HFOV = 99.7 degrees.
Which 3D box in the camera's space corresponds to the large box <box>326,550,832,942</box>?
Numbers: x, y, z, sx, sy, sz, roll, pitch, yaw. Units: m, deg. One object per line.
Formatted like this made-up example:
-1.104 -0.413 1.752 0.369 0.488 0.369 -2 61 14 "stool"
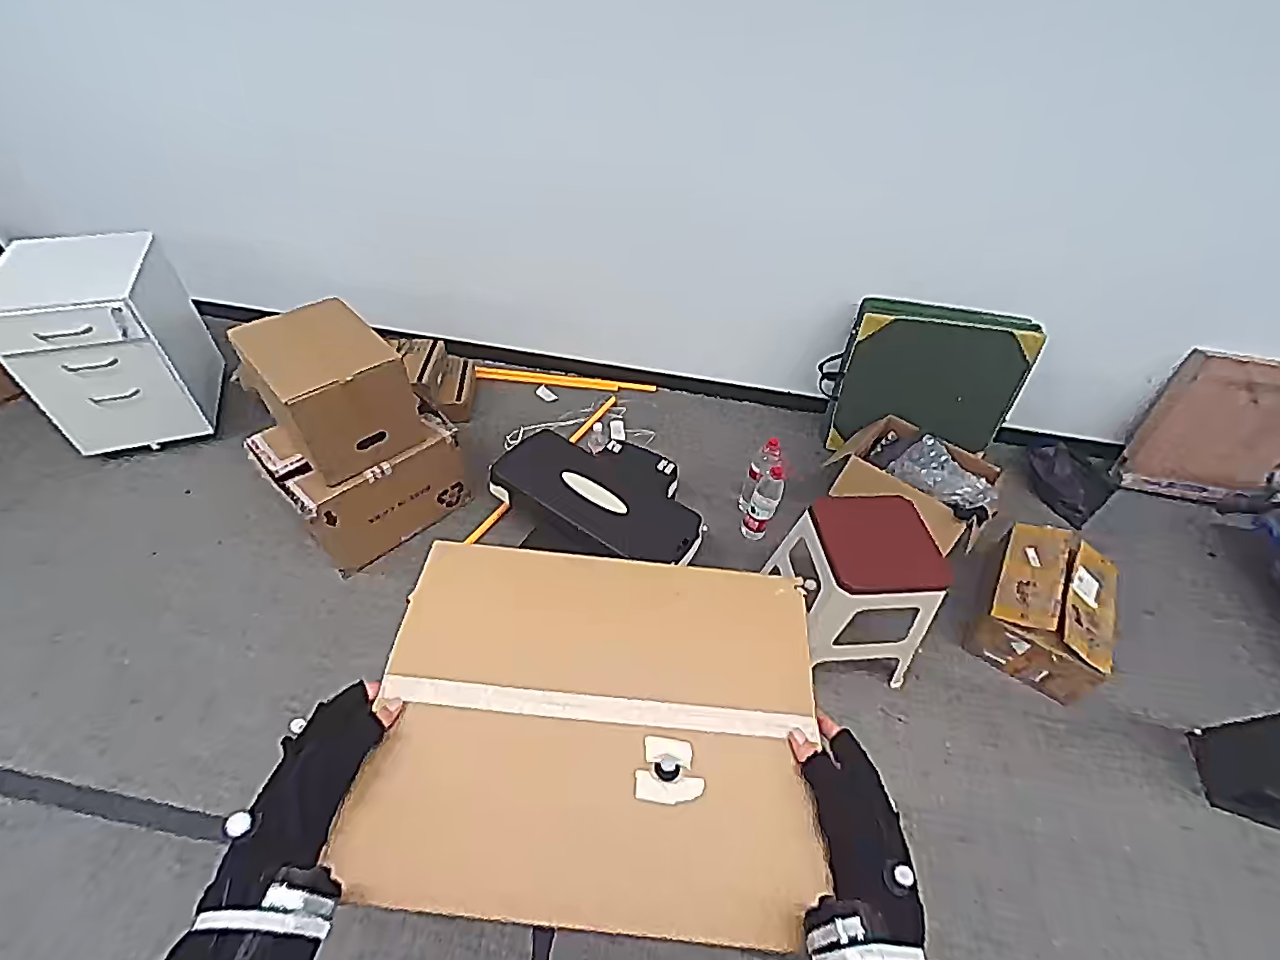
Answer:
-0.046 0.306 0.624 0.408 0.320 0.320 6 53 0 "large box"
